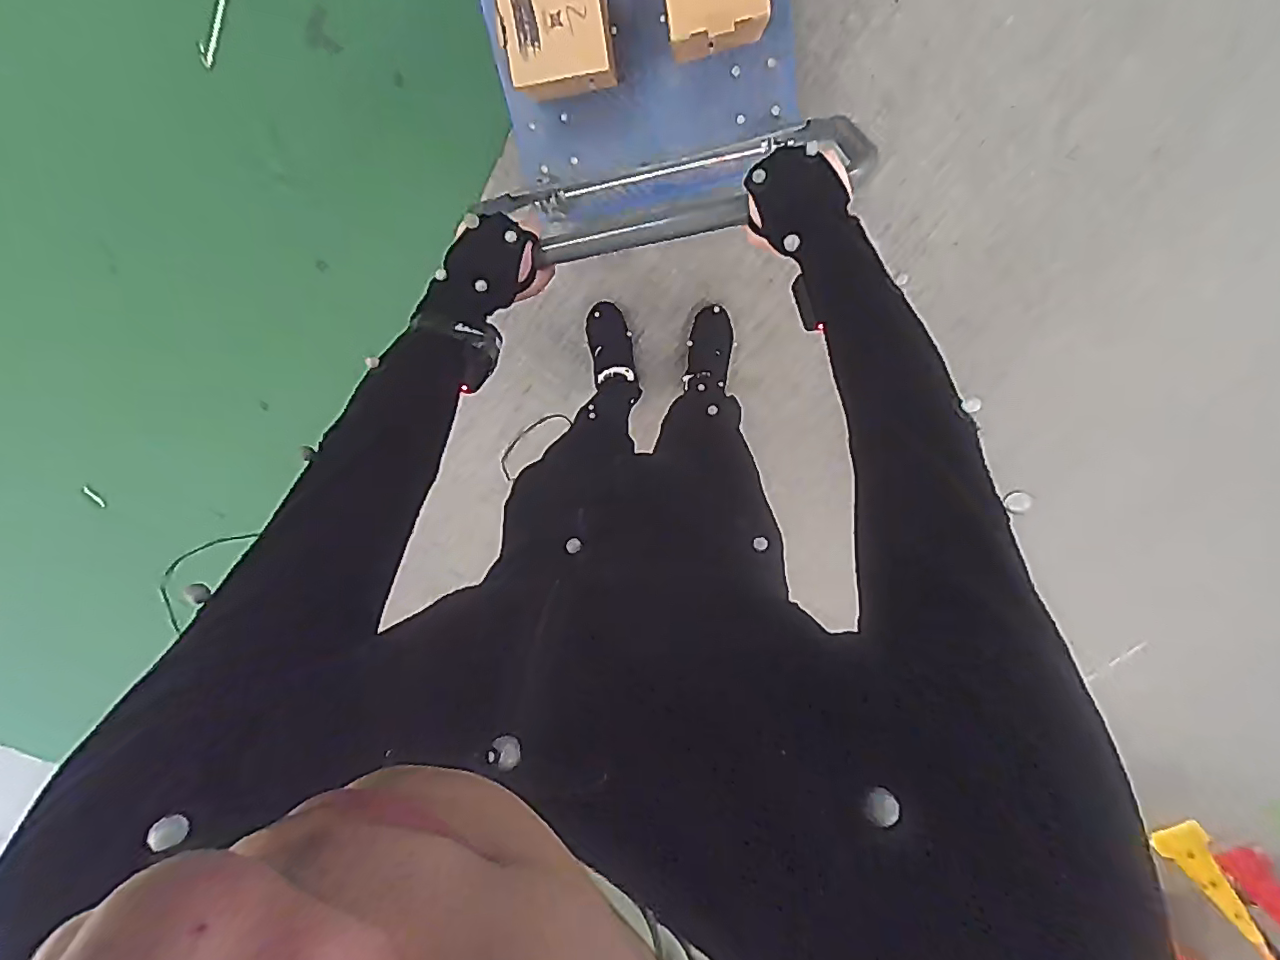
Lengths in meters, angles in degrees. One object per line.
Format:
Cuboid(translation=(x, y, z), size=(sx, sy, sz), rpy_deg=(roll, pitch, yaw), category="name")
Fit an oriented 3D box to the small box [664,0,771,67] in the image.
Cuboid(translation=(0.124, -0.850, 0.931), size=(0.168, 0.176, 0.179), rpy_deg=(-9, 118, 9), category="small box")
